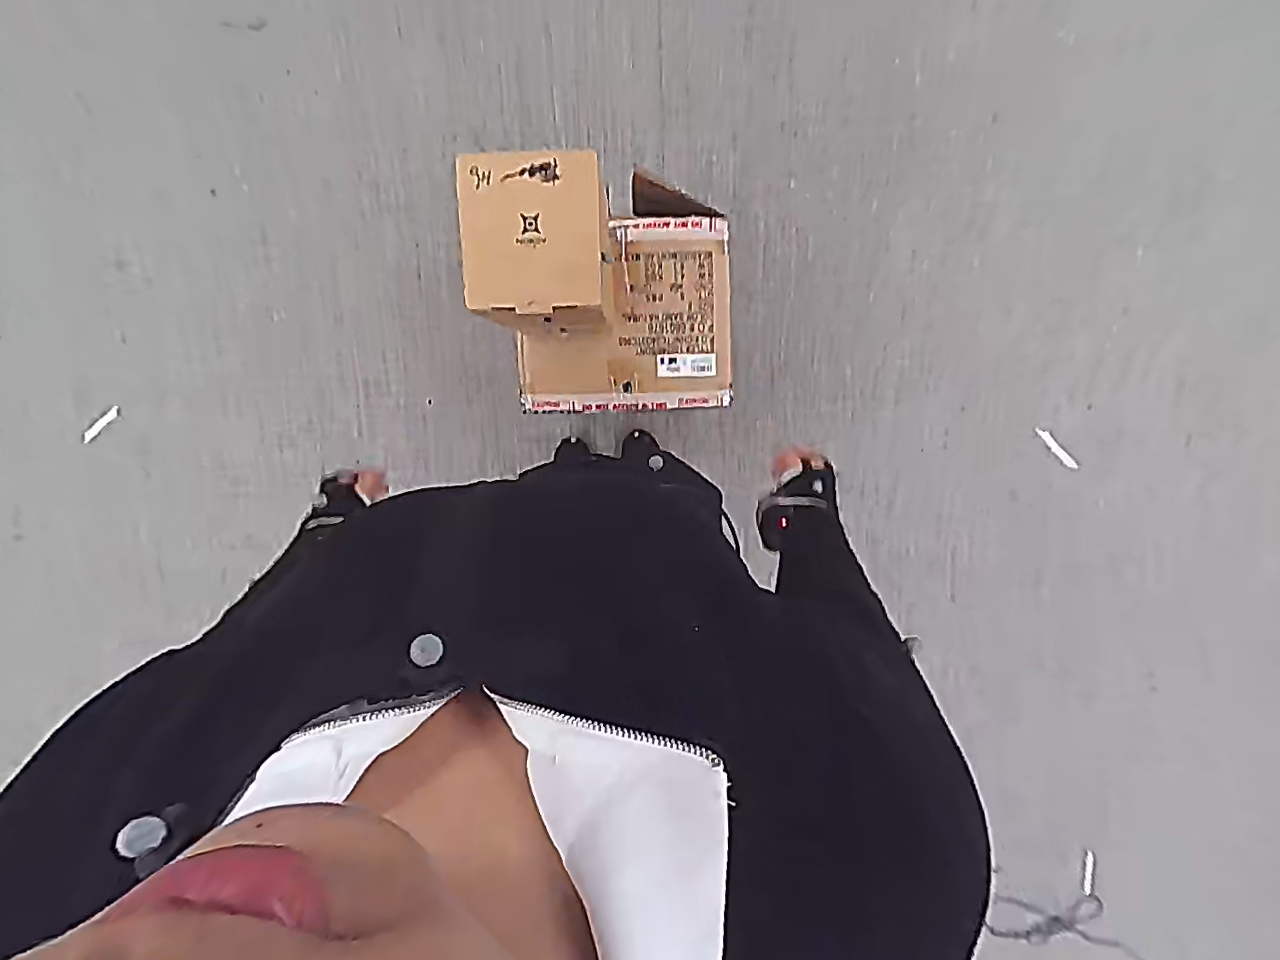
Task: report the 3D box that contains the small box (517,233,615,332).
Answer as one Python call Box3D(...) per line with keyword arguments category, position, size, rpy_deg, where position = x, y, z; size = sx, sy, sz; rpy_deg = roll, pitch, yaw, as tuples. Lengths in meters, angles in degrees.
Box3D(category="small box", position=(-0.129, -0.342, 0.875), size=(0.168, 0.176, 0.179), rpy_deg=(-3, 100, 2))

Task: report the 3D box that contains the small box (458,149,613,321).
Box3D(category="small box", position=(-0.125, -0.307, 0.714), size=(0.168, 0.176, 0.179), rpy_deg=(-1, 100, 1))
